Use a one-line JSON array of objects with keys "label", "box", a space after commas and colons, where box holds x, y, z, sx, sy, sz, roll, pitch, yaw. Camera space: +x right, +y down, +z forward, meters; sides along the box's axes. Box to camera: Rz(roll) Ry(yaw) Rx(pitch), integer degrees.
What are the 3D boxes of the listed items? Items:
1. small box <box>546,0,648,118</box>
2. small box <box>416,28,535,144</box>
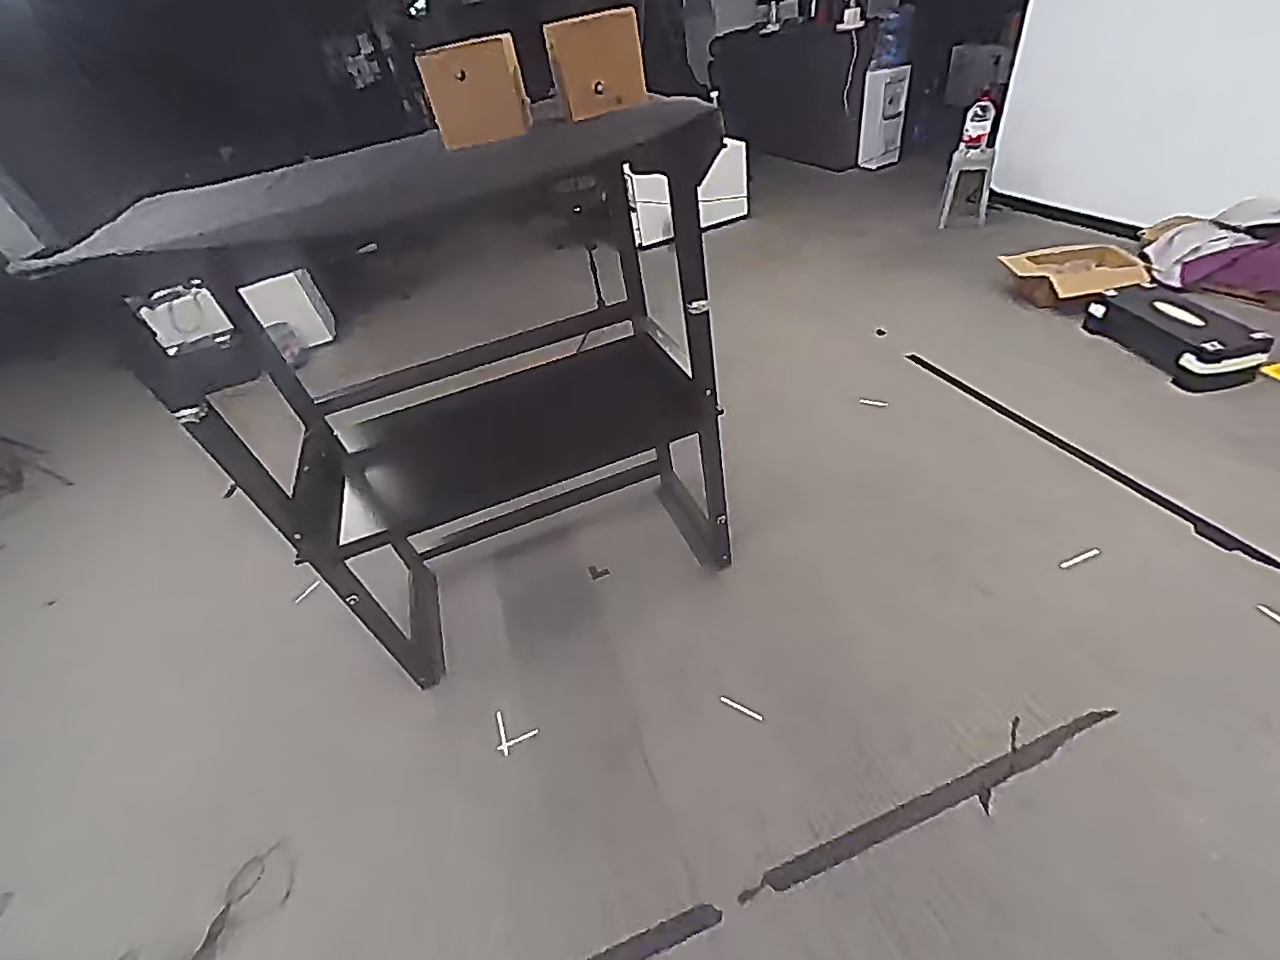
[{"label": "small box", "box": [-0.091, -0.882, 1.140, 0.168, 0.176, 0.179, -17, 42, -4]}, {"label": "small box", "box": [-0.337, -0.830, 1.143, 0.179, 0.176, 0.168, -9, 42, 3]}]
